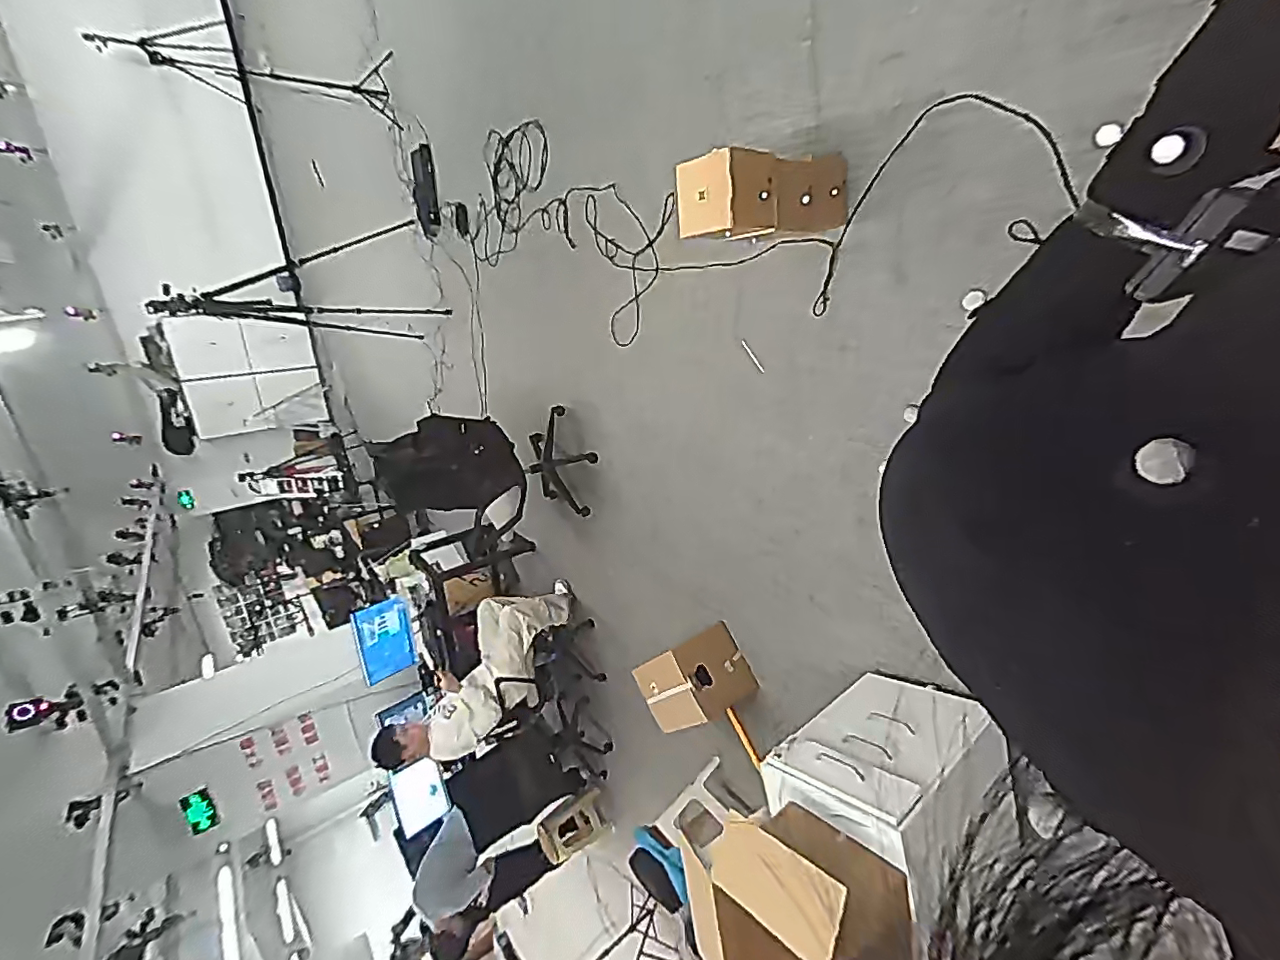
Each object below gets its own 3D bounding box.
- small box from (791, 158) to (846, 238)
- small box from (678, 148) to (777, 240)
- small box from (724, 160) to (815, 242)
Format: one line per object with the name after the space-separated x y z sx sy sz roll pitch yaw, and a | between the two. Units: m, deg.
0.462 -0.786 1.521 0.179 0.176 0.168 12 113 51 | small box
0.214 -0.693 1.330 0.179 0.176 0.168 15 116 49 | small box
0.338 -0.728 1.430 0.179 0.176 0.168 17 118 49 | small box
